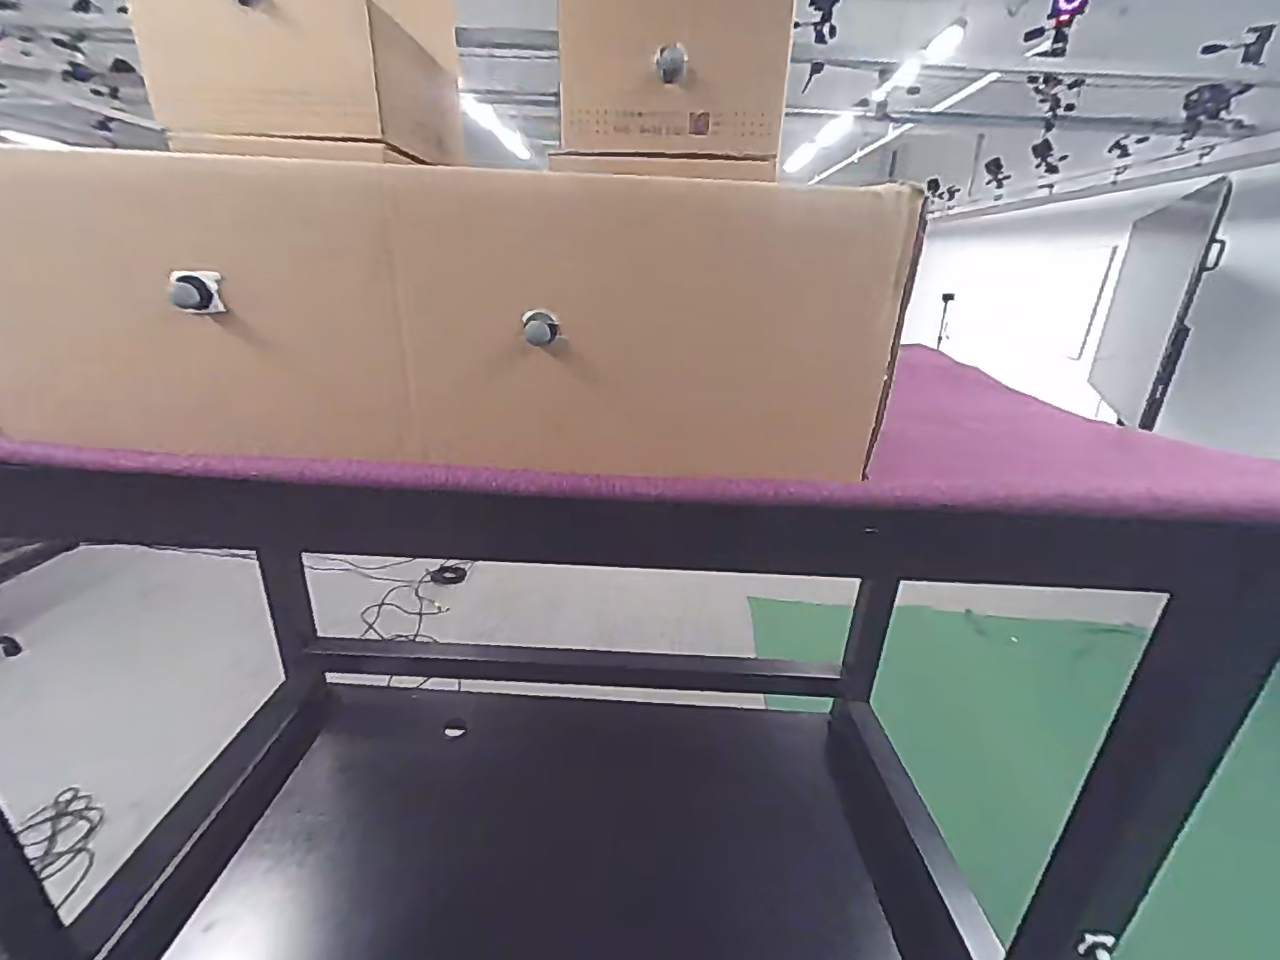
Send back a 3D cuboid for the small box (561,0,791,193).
[{"bbox_3d":[0.028,-0.346,0.457,0.168,0.176,0.179,2,21,3],"label":"small box"}]
